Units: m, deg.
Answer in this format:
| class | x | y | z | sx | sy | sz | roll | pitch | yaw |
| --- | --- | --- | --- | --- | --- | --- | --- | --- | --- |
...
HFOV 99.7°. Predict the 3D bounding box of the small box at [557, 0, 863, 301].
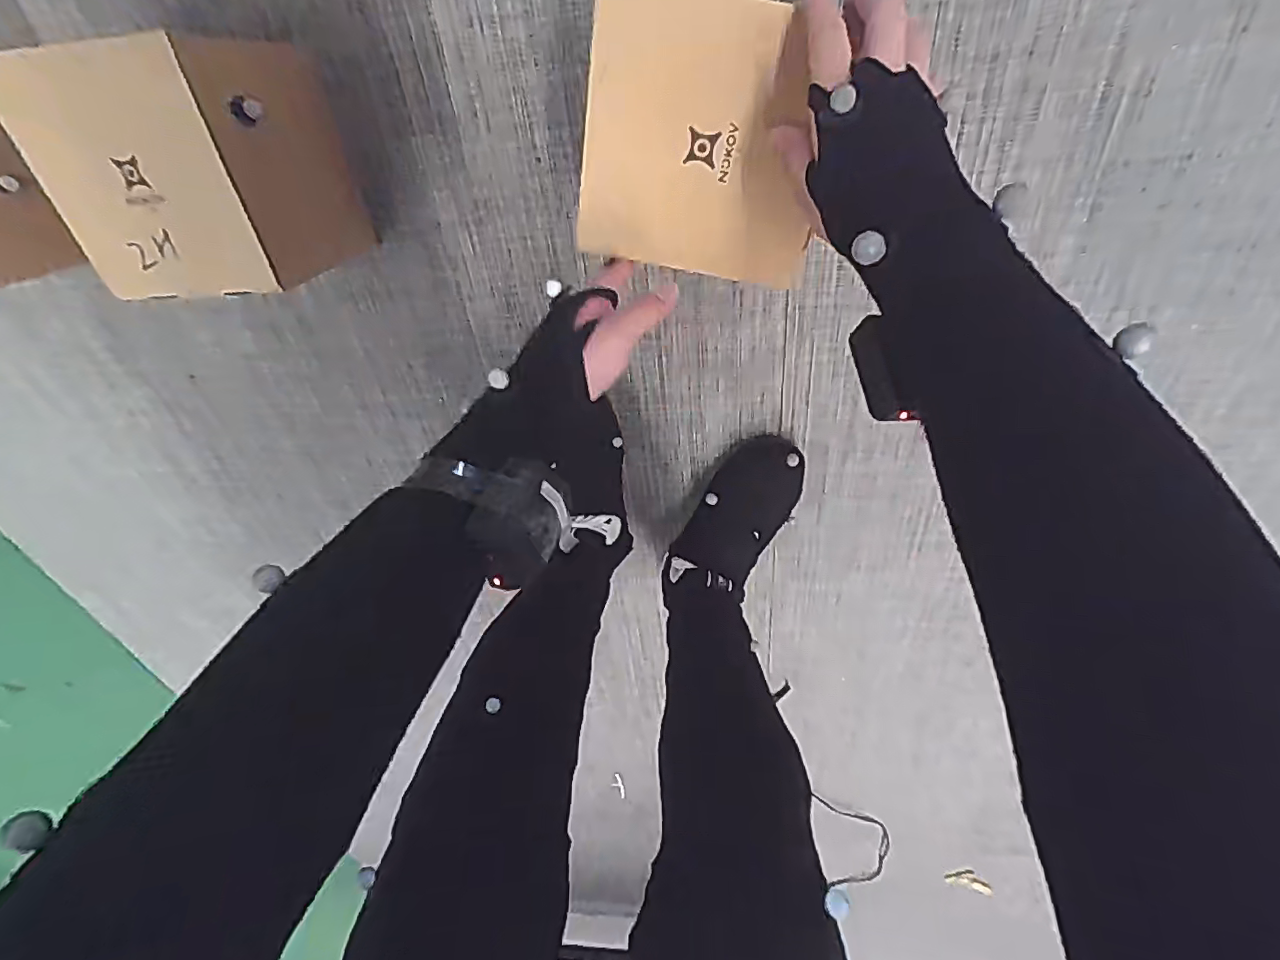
| class | x | y | z | sx | sy | sz | roll | pitch | yaw |
| --- | --- | --- | --- | --- | --- | --- | --- | --- | --- |
| small box | 0.045 | -0.271 | 0.441 | 0.179 | 0.176 | 0.168 | 14 | 127 | -4 |
